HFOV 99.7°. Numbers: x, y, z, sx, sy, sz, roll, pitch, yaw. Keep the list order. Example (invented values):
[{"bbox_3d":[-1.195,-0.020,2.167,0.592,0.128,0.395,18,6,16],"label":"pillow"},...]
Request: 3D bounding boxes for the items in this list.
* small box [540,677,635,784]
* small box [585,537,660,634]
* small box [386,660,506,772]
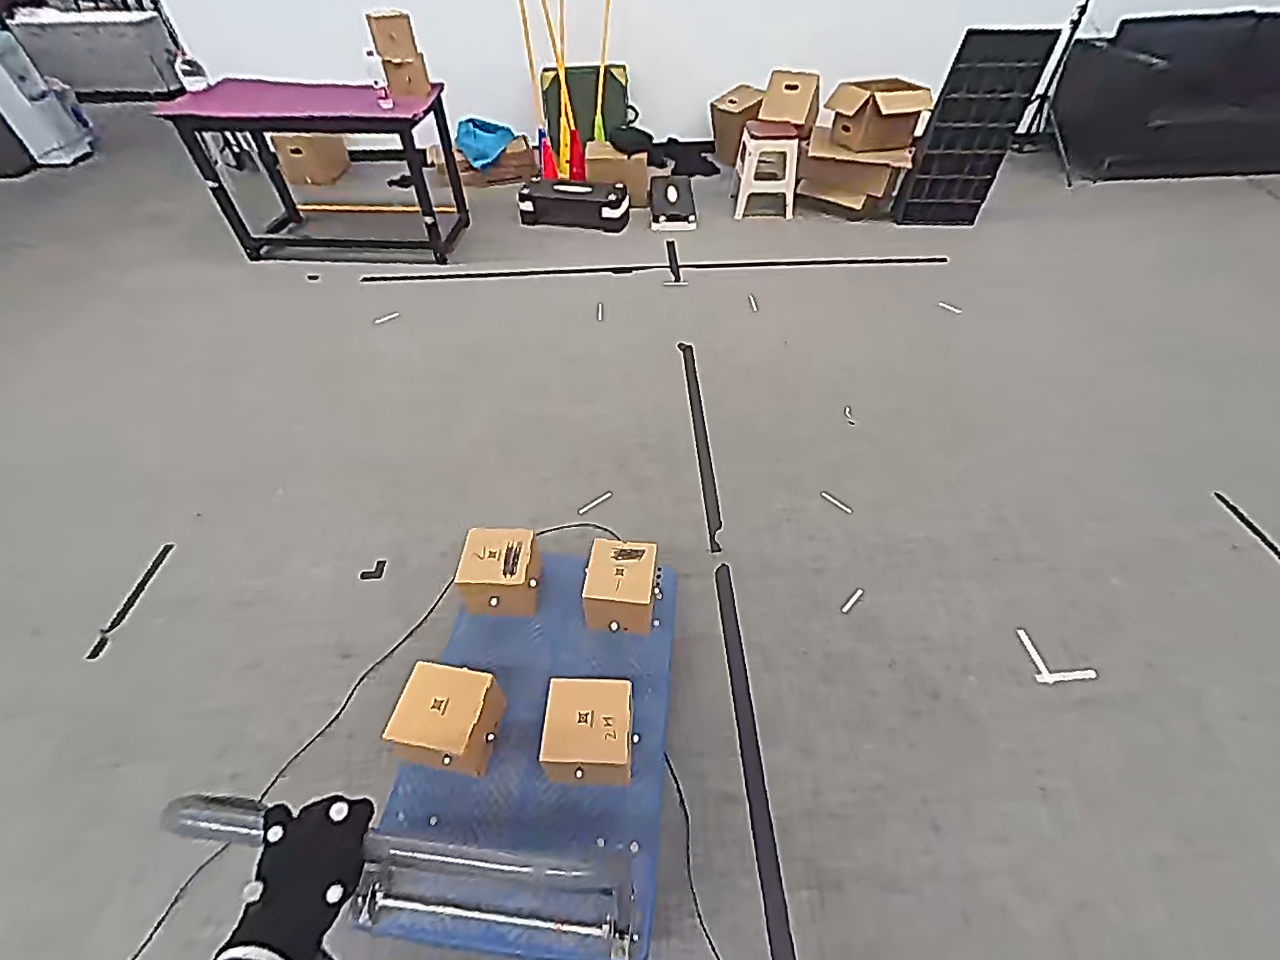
[{"bbox_3d":[-0.103,0.539,1.158,0.179,0.176,0.168,2,48,2],"label":"small box"},{"bbox_3d":[-0.041,0.273,1.396,0.168,0.176,0.179,5,50,5],"label":"small box"},{"bbox_3d":[-0.411,0.518,1.180,0.179,0.176,0.168,8,48,6],"label":"small box"}]
